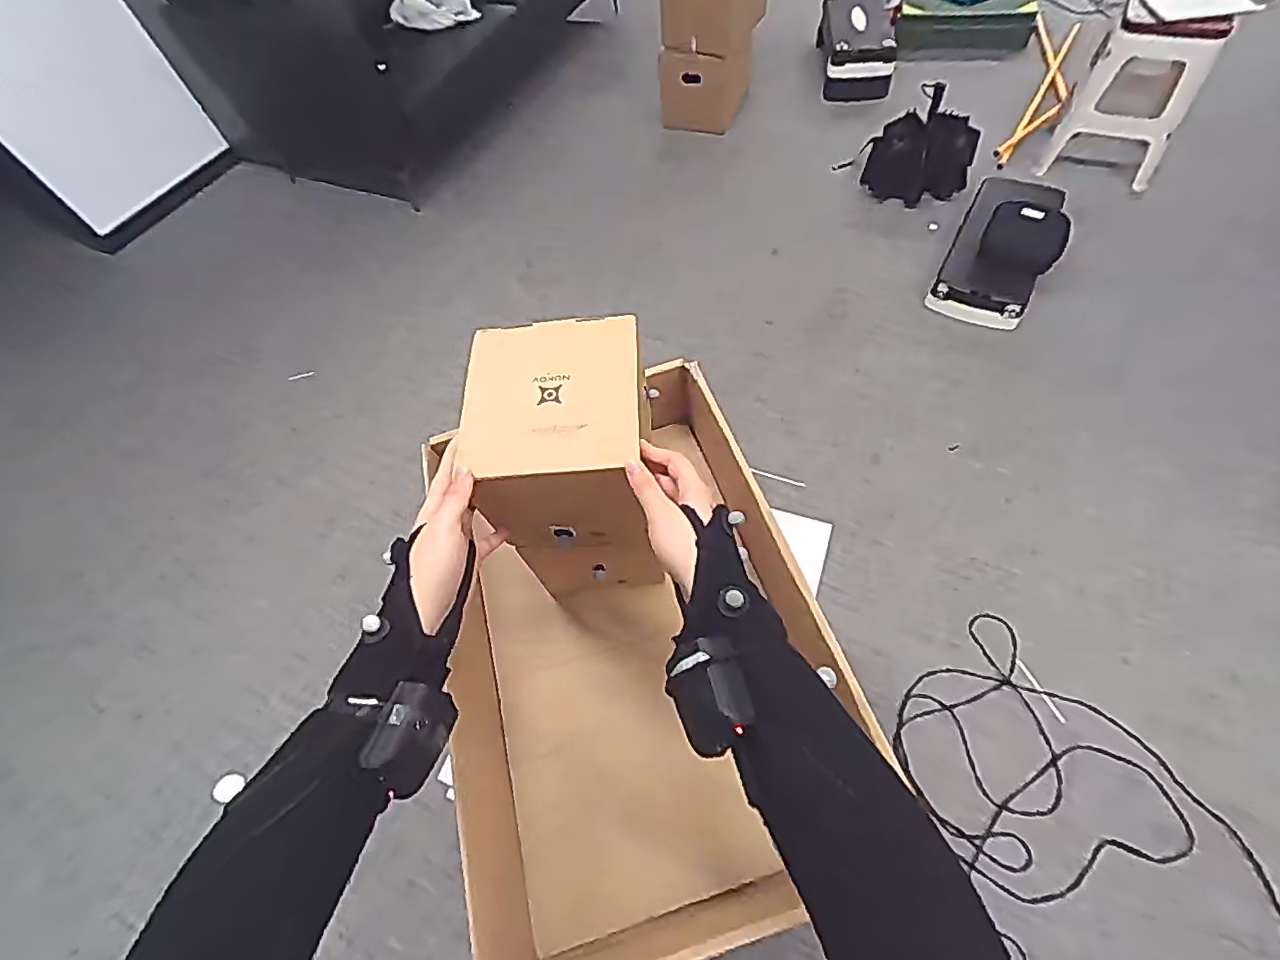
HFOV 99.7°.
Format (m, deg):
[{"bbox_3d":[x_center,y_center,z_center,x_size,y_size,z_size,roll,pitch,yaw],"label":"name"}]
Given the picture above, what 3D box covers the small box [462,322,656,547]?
[{"bbox_3d":[-0.072,-0.042,0.583,0.168,0.176,0.179,-4,62,5],"label":"small box"}]
